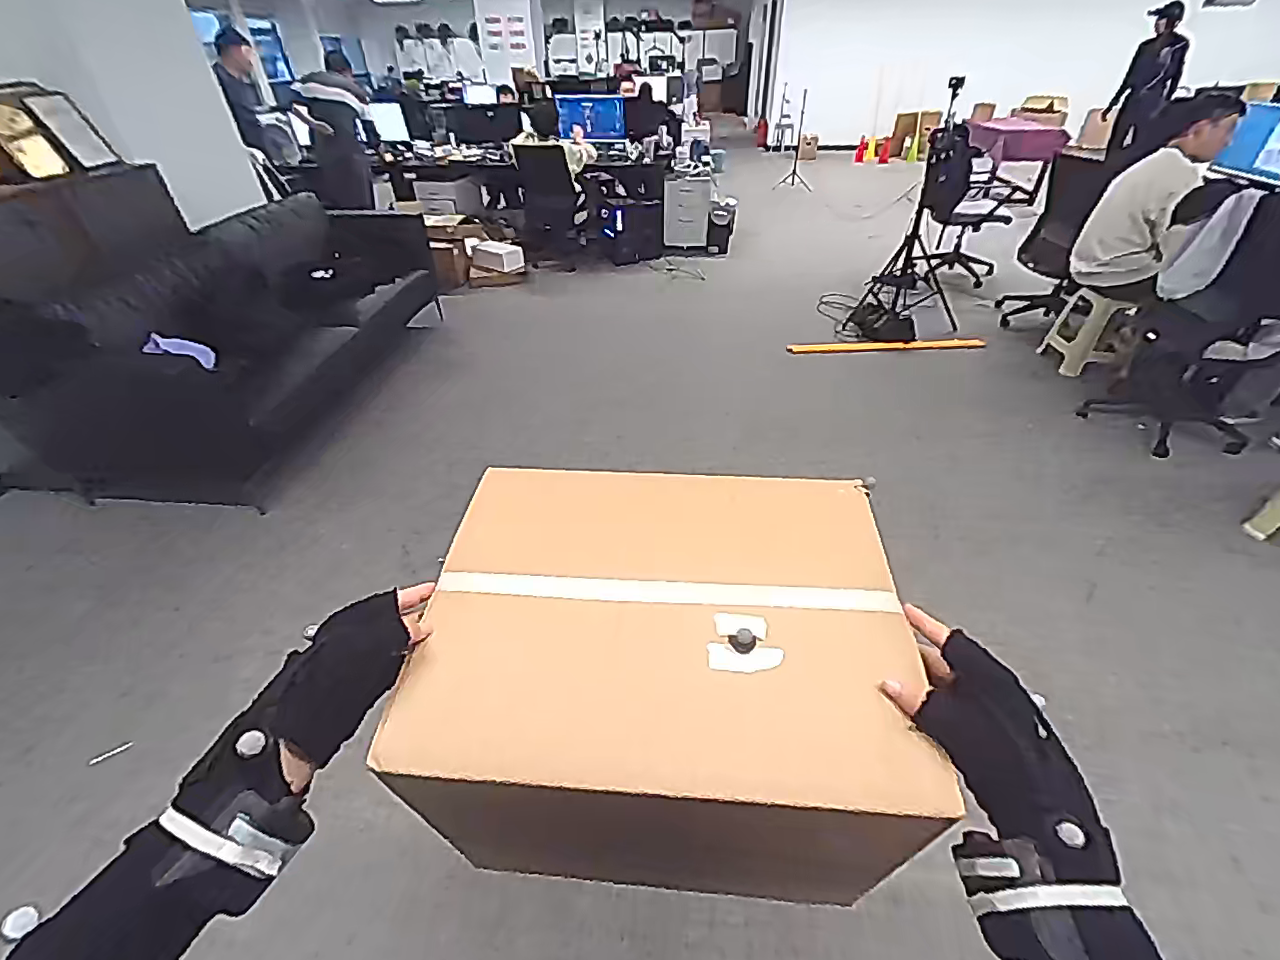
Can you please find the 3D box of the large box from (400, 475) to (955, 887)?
[{"bbox_3d":[0.031,0.213,0.589,0.408,0.320,0.320,3,44,4],"label":"large box"}]
